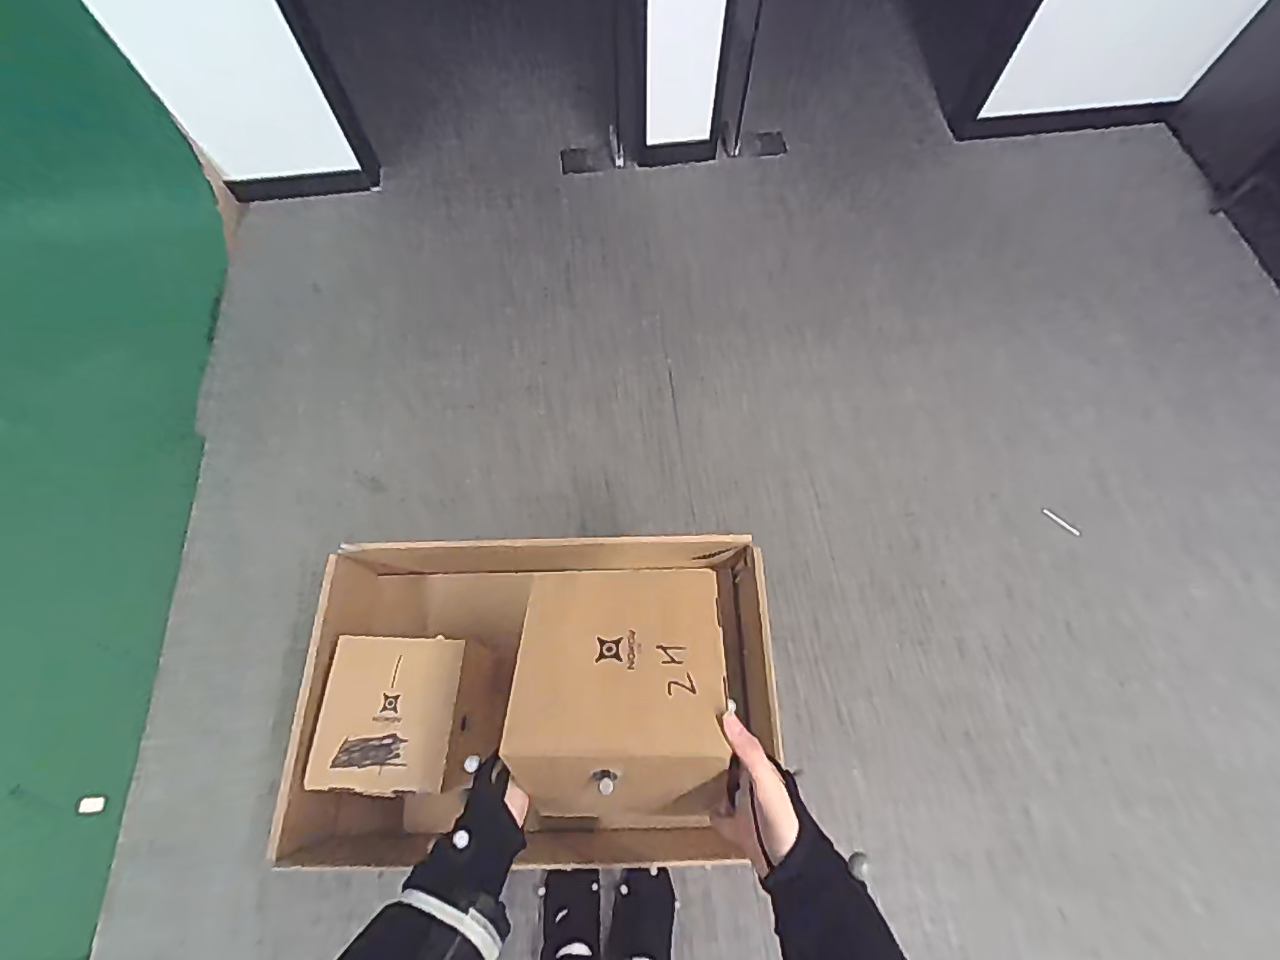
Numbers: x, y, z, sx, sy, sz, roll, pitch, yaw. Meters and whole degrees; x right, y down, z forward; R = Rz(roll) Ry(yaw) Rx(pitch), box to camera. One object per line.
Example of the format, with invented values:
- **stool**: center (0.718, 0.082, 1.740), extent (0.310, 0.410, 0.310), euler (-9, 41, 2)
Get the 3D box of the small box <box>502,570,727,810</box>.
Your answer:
- **small box**: center (-0.013, 0.203, 0.518), extent (0.179, 0.176, 0.168), euler (-1, 46, 3)
